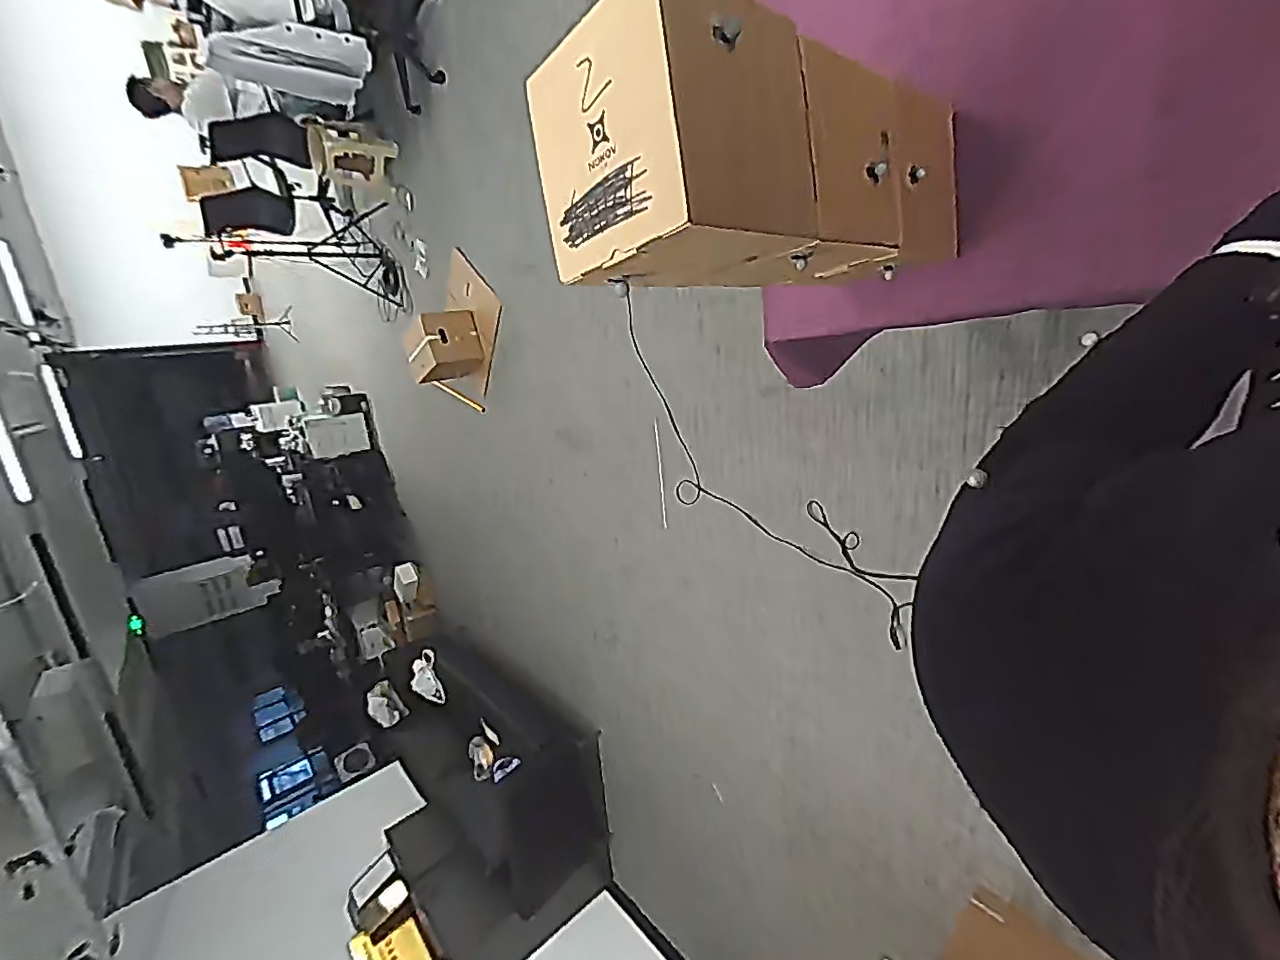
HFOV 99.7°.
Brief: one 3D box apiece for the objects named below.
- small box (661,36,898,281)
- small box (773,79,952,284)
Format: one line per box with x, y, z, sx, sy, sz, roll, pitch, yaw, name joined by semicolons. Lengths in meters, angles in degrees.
0.150;-0.316;0.581;0.179;0.176;0.168;2;105;48;small box
0.274;-0.353;0.679;0.168;0.176;0.179;5;107;48;small box
